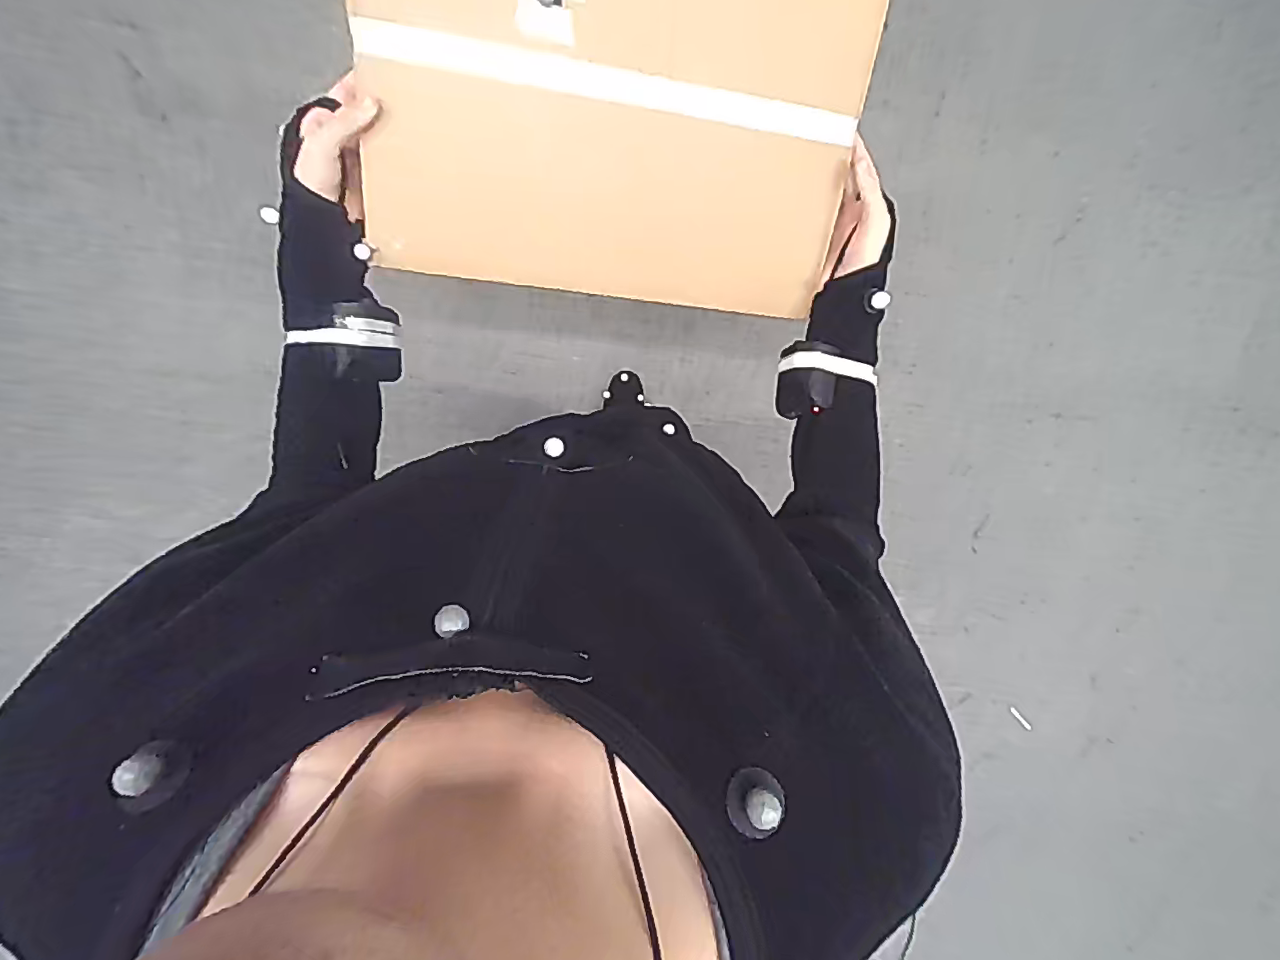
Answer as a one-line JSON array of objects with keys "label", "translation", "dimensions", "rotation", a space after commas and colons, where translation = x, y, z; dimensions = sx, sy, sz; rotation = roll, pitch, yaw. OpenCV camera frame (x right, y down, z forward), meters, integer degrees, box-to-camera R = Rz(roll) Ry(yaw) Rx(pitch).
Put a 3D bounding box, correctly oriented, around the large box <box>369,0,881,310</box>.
[{"label": "large box", "translation": [-0.028, -0.380, 0.577], "dimensions": [0.408, 0.320, 0.320], "rotation": [3, 114, -10]}]
